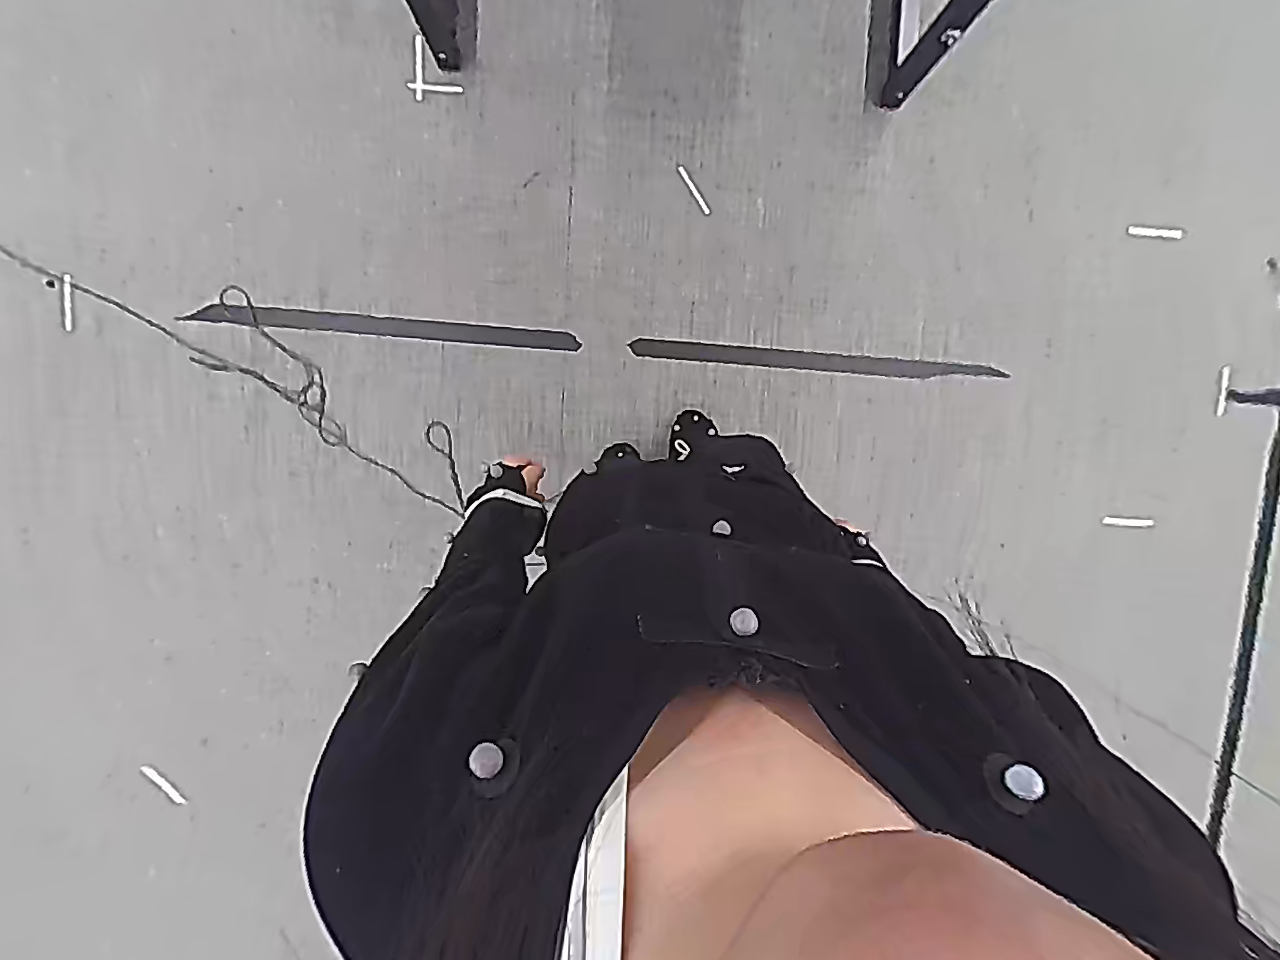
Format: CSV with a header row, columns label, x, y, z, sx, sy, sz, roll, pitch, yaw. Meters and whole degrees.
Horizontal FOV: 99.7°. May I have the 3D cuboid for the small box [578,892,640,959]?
label,x,y,z,sx,sy,sz,roll,pitch,yaw
small box,-0.085,1.303,1.521,0.168,0.176,0.179,-4,95,-3
